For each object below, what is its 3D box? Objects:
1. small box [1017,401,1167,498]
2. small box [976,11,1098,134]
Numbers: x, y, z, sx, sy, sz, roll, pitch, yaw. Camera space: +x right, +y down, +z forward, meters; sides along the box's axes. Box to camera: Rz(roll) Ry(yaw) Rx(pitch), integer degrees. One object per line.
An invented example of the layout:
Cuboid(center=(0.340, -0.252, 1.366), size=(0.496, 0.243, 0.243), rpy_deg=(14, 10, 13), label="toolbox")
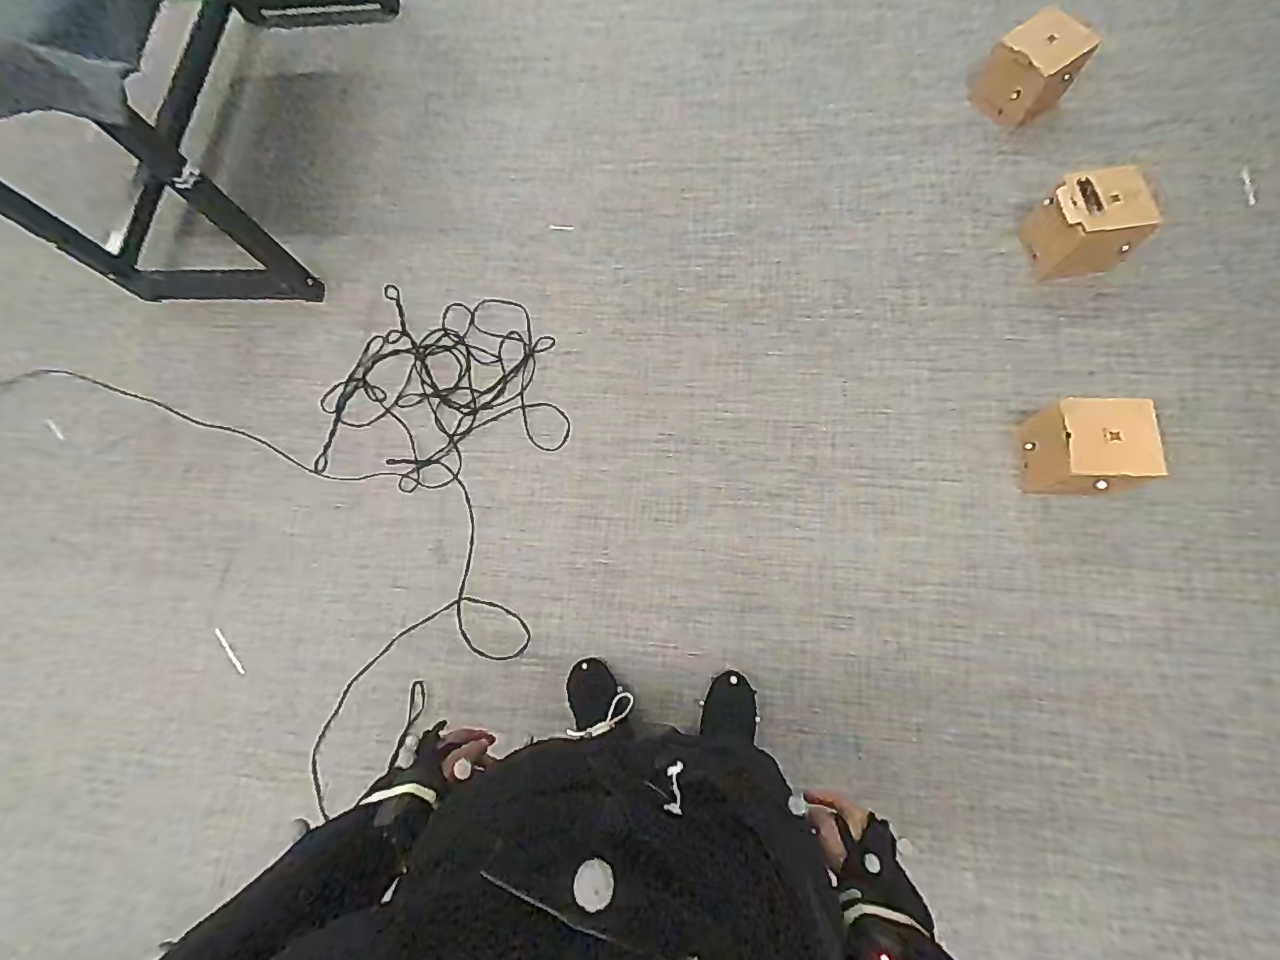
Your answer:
Cuboid(center=(0.954, -0.061, 1.157), size=(0.179, 0.176, 0.168), rpy_deg=(1, 75, 7), label="small box")
Cuboid(center=(1.036, -1.073, 1.437), size=(0.179, 0.176, 0.168), rpy_deg=(-35, 75, -6), label="small box")
